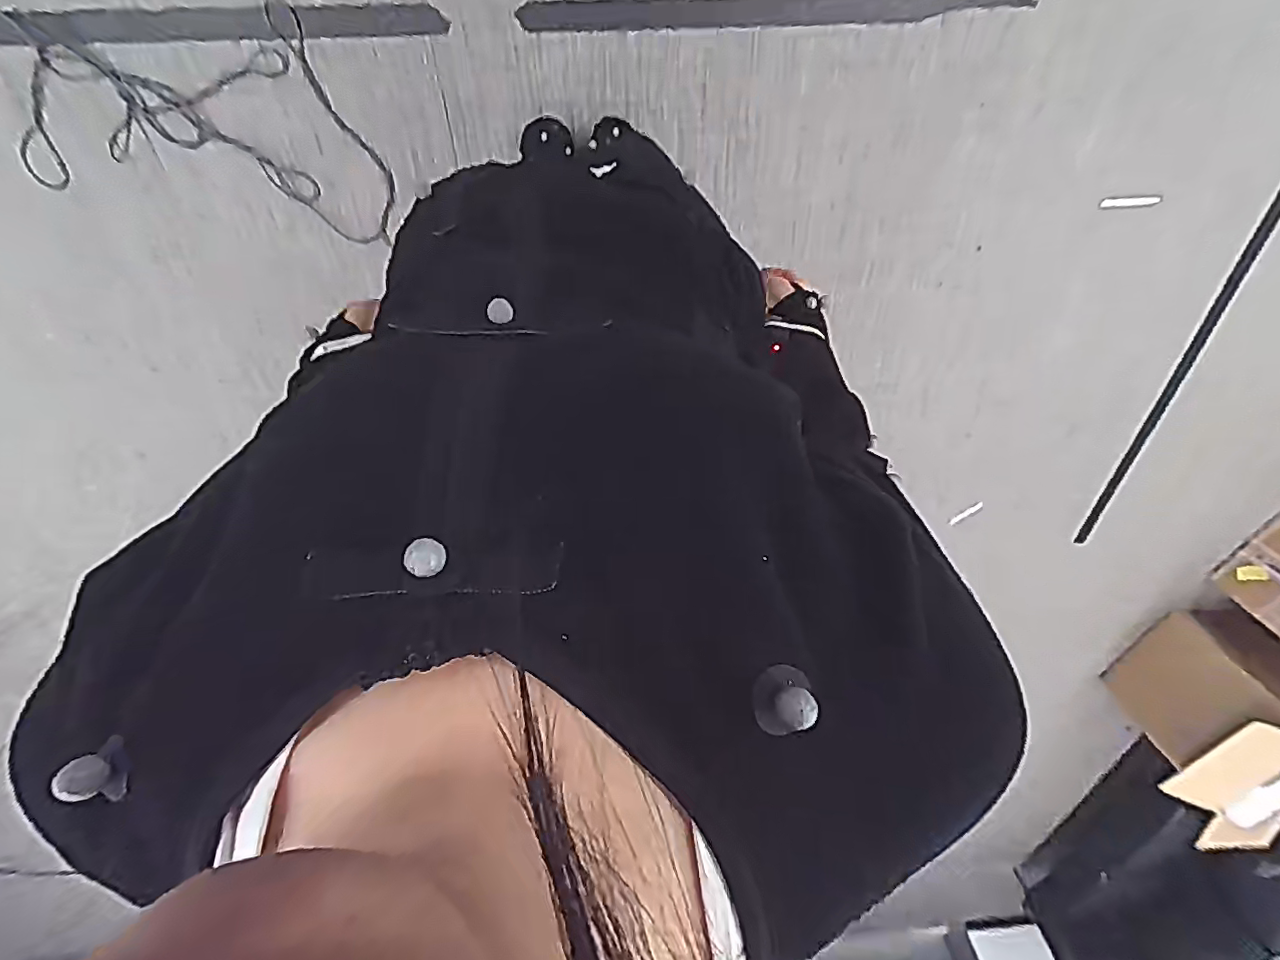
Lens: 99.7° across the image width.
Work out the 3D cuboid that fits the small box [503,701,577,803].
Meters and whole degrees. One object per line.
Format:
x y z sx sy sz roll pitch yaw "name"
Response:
-0.245 0.672 1.353 0.168 0.176 0.179 -3 126 -5 "small box"
